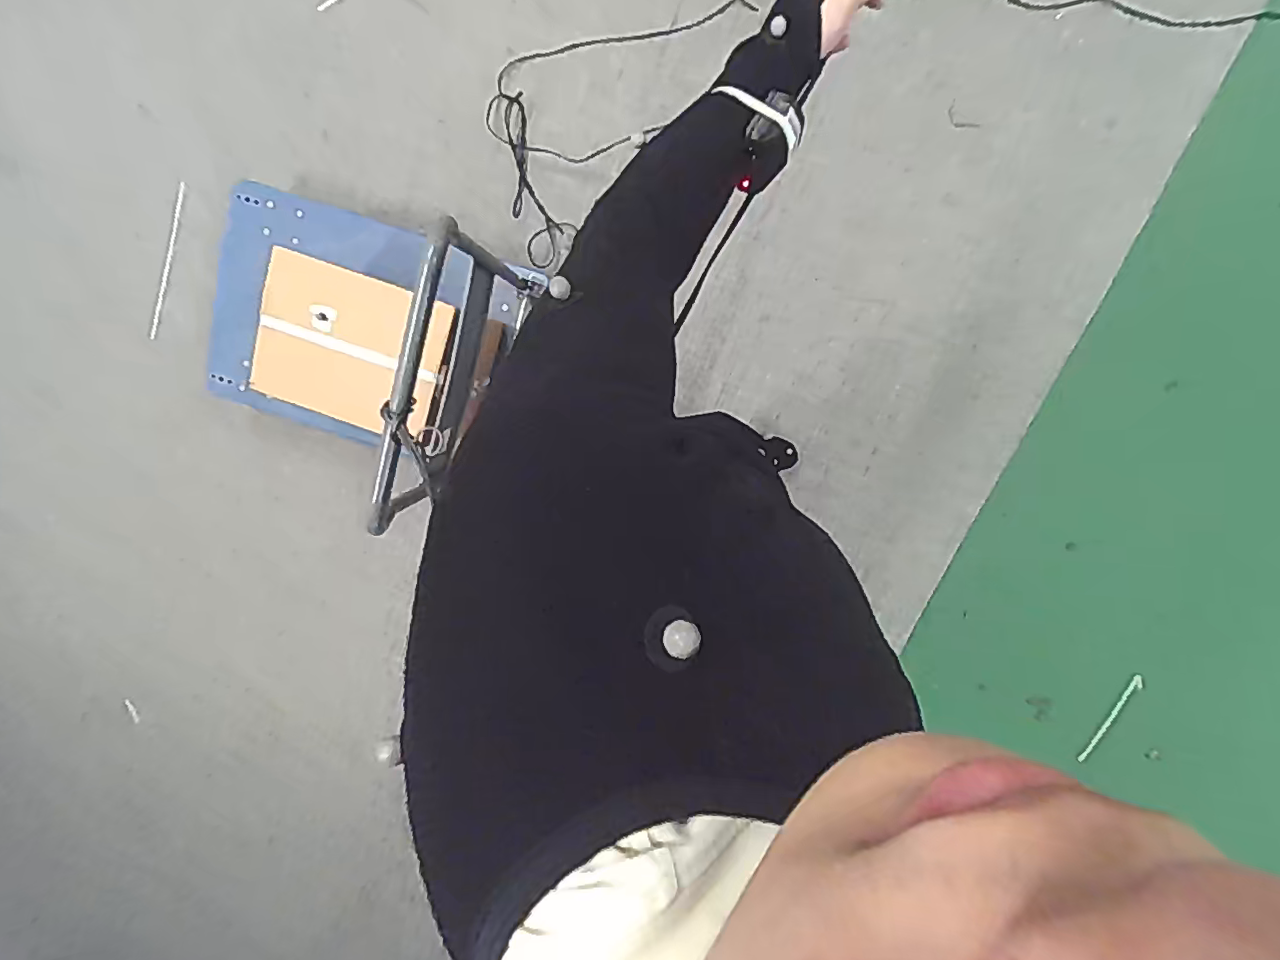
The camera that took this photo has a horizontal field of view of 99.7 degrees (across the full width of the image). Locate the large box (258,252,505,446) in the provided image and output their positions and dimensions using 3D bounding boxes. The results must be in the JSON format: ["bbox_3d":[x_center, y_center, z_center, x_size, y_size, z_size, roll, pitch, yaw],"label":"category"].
[{"bbox_3d":[-0.592,-0.301,1.298,0.408,0.320,0.320,20,100,1],"label":"large box"}]
